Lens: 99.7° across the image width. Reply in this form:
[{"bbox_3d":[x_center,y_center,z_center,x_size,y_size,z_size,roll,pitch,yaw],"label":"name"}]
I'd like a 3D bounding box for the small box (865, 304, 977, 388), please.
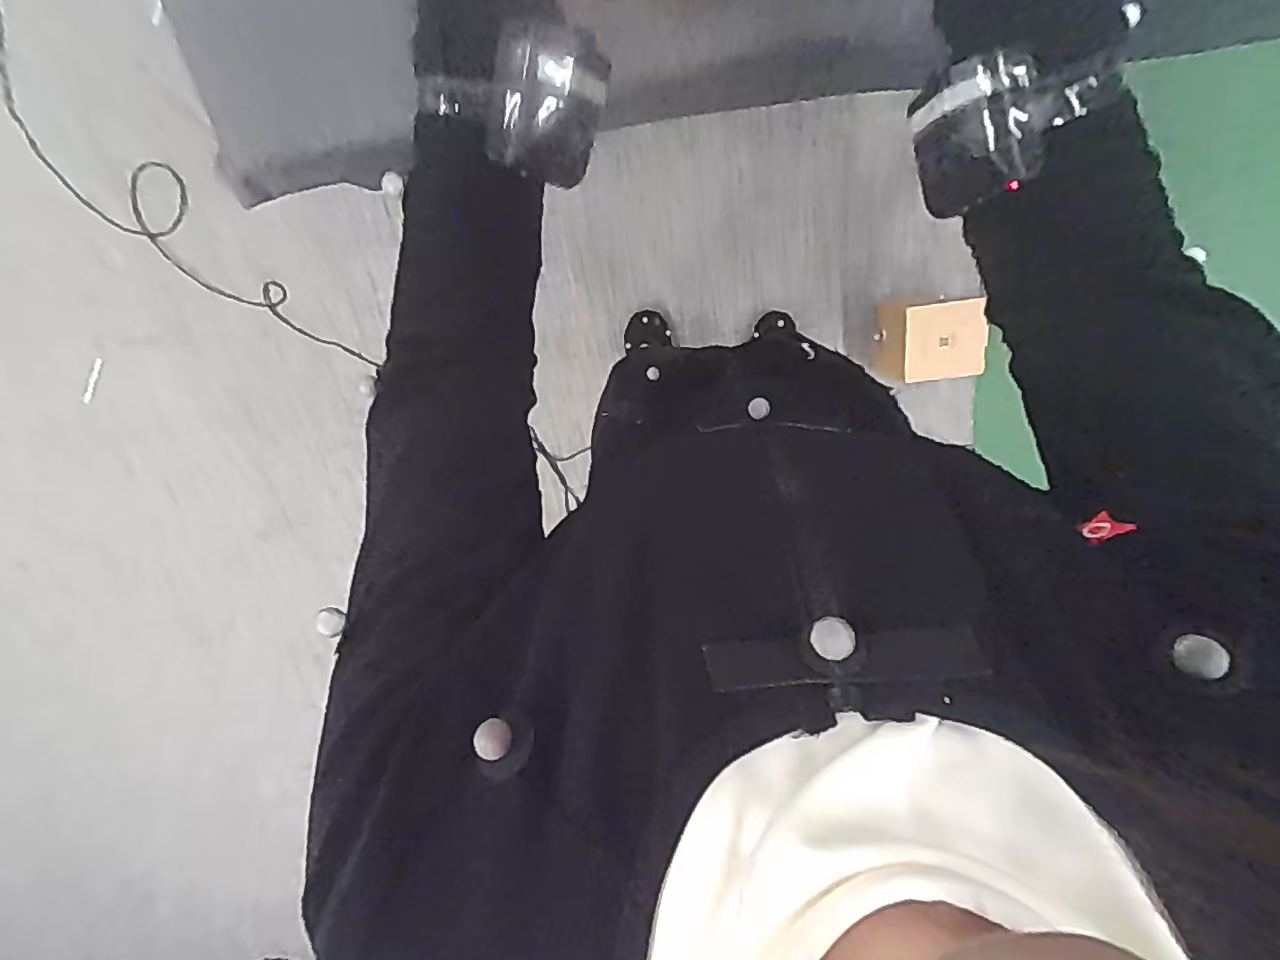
[{"bbox_3d":[0.647,-0.318,1.264,0.179,0.176,0.168,-6,109,4],"label":"small box"}]
